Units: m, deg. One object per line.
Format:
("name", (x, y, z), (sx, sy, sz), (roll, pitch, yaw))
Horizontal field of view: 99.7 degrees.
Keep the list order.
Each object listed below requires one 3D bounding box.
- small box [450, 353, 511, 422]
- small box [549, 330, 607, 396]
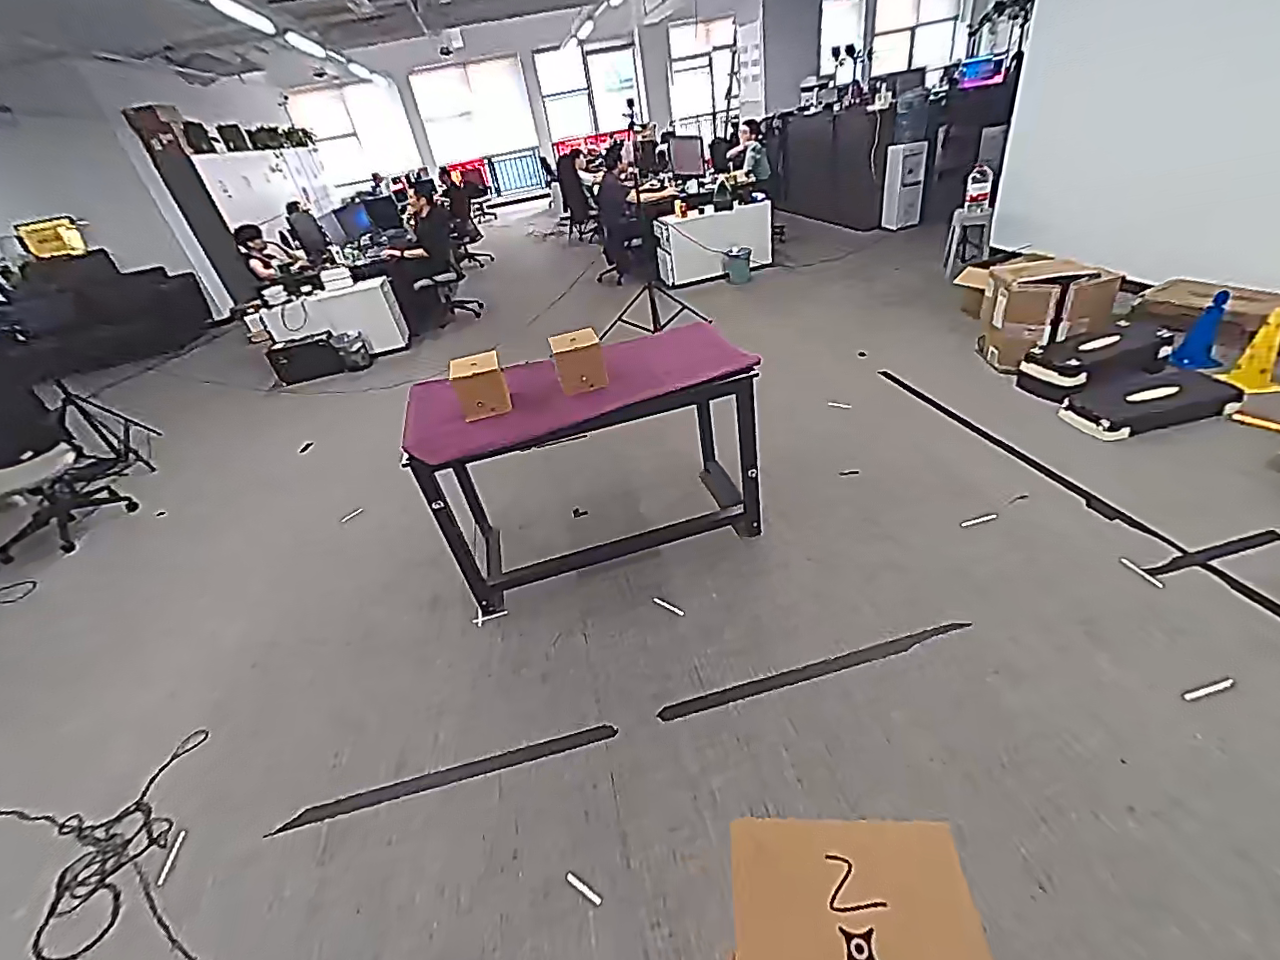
("small box", (-0.562, -0.326, 1.909), (0.168, 0.176, 0.179), (-15, 36, -8))
("small box", (-0.224, -0.422, 1.952), (0.168, 0.176, 0.179), (-16, 35, -6))
